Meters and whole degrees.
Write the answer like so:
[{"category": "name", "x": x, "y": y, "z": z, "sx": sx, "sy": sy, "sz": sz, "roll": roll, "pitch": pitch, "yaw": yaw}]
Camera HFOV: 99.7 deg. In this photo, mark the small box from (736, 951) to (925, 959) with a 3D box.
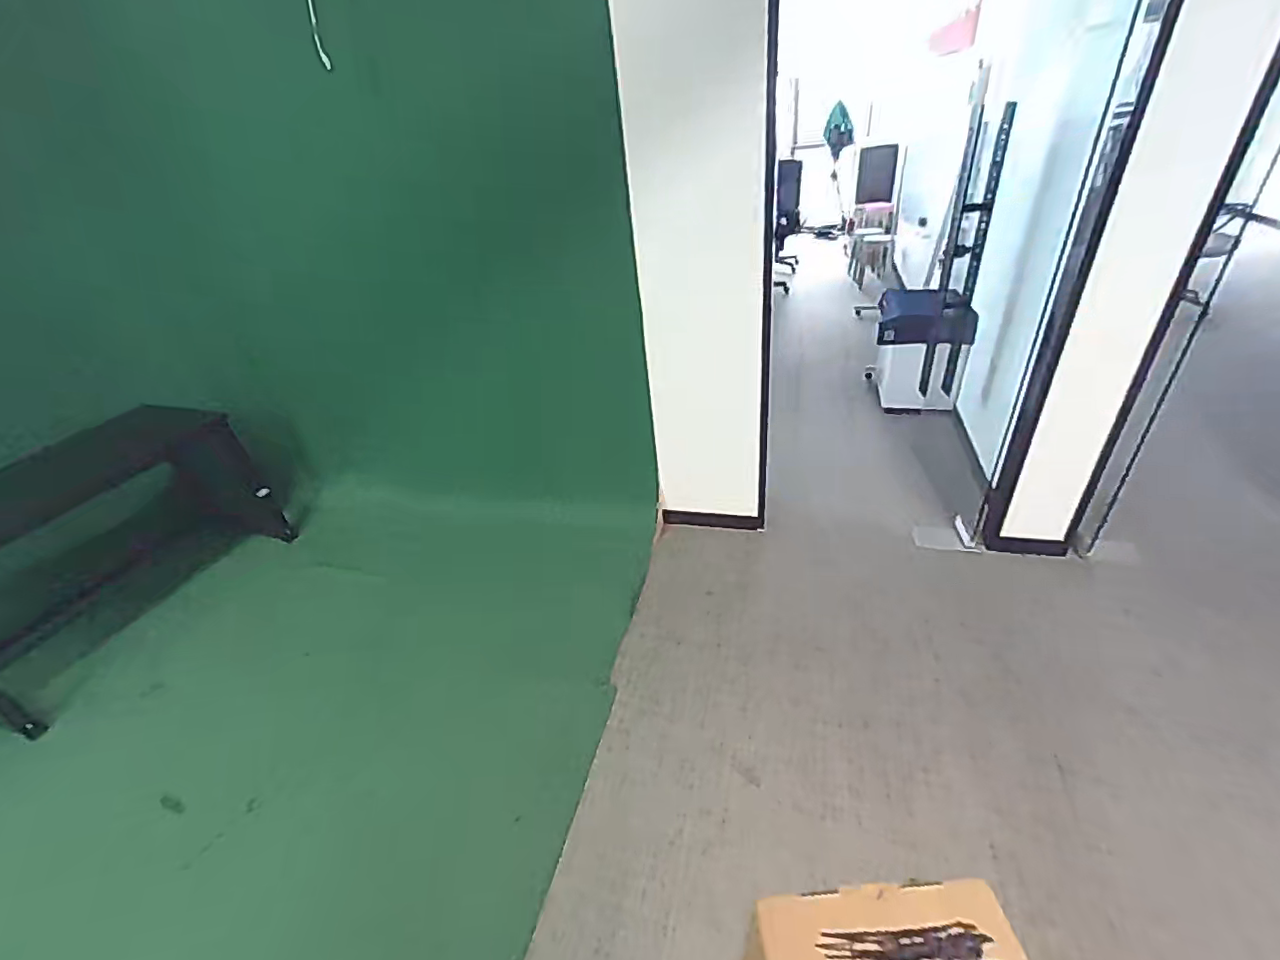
[{"category": "small box", "x": 0.168, "y": 0.524, "z": 0.439, "sx": 0.168, "sy": 0.176, "sz": 0.179, "roll": -2, "pitch": 31, "yaw": 0}]
